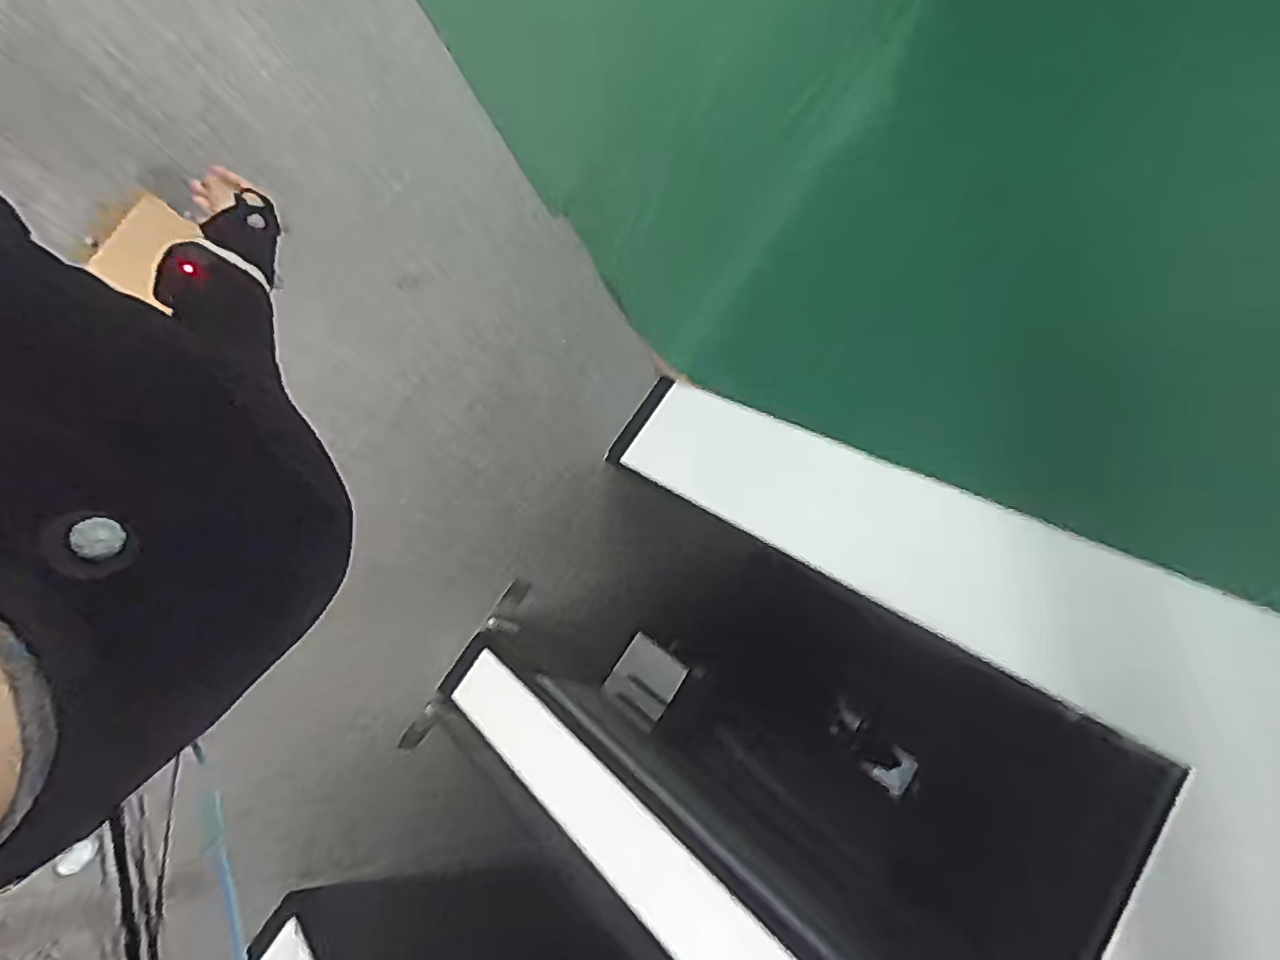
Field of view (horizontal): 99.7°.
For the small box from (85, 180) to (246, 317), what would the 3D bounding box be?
[{"bbox_3d":[-0.921,-0.448,1.048,0.179,0.176,0.168,-59,146,-7],"label":"small box"}]
